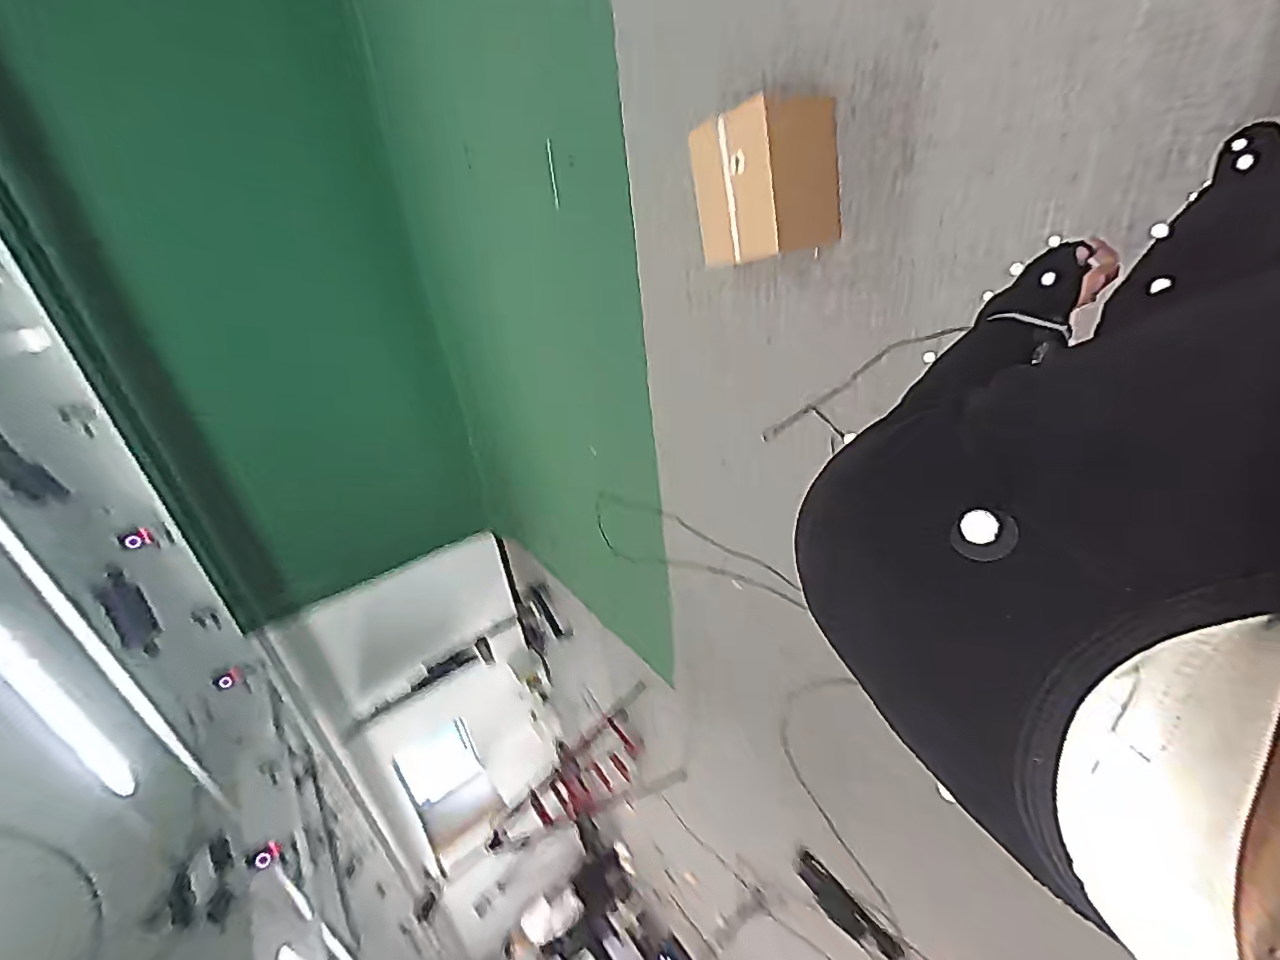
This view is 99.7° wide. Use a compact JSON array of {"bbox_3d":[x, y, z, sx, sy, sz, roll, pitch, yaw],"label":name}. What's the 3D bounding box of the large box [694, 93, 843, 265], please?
[{"bbox_3d":[0.408,-0.927,1.700,0.320,0.320,0.408,17,123,52],"label":"large box"}]
